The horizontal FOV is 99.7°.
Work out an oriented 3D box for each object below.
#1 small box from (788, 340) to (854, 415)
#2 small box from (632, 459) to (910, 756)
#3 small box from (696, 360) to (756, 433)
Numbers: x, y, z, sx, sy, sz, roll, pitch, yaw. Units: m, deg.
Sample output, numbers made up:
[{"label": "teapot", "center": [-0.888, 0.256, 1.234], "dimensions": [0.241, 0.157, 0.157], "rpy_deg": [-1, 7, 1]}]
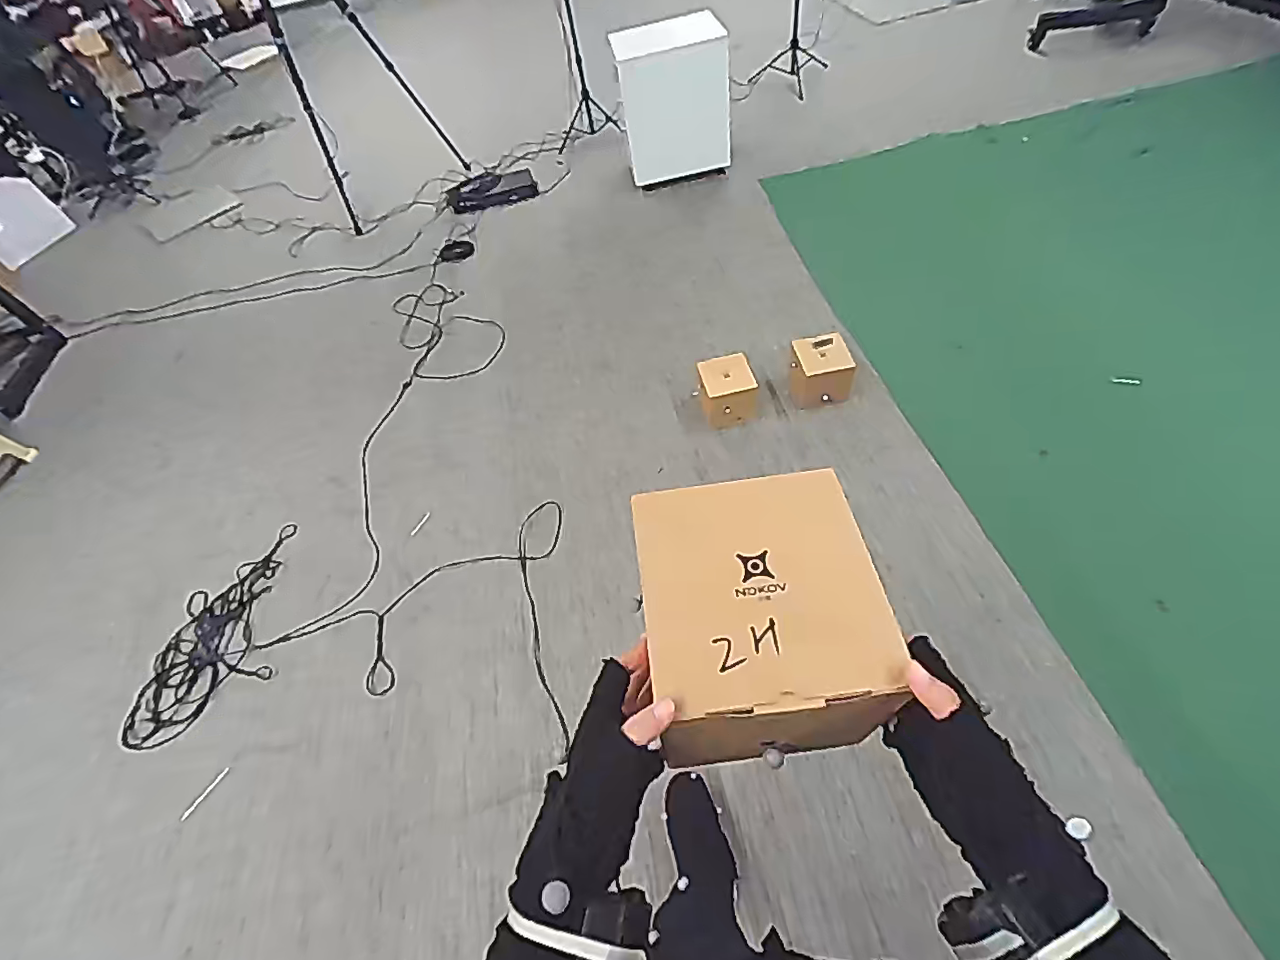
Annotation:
[{"label": "small box", "center": [0.618, -0.353, 1.872], "dimensions": [0.168, 0.176, 0.179], "rpy_deg": [-11, 54, 3]}, {"label": "small box", "center": [0.087, 0.109, 0.450], "dimensions": [0.168, 0.176, 0.179], "rpy_deg": [-8, 52, 1]}, {"label": "small box", "center": [0.300, -0.282, 1.879], "dimensions": [0.168, 0.176, 0.179], "rpy_deg": [-14, 52, 0]}]
